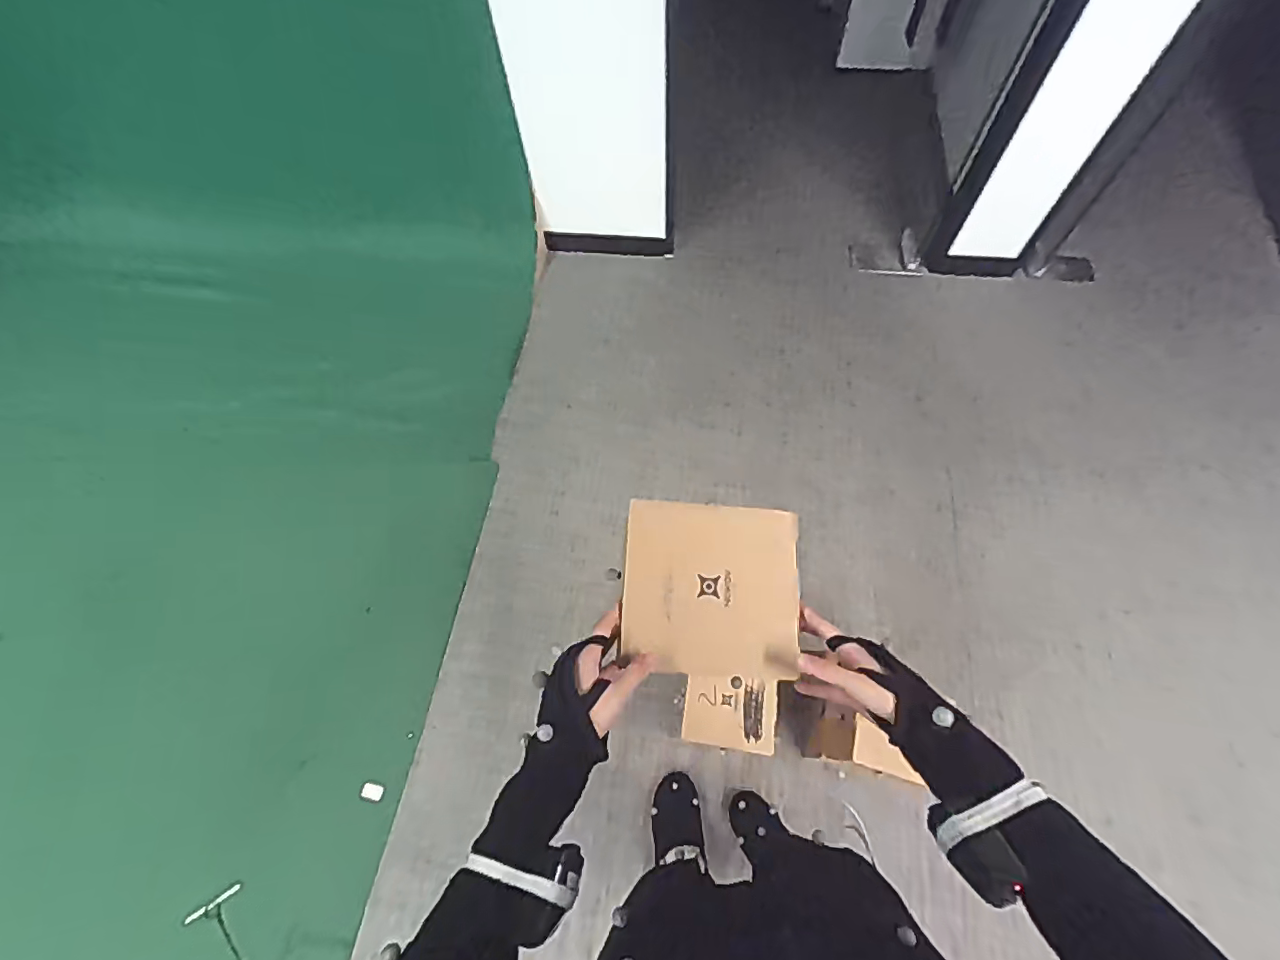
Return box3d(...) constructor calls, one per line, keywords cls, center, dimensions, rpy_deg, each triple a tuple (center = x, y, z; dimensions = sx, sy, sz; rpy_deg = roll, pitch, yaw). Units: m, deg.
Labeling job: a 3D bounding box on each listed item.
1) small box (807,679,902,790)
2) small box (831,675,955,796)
box3d(cls="small box", center=(0.485, 0.571, 1.218), dimensions=(0.168, 0.176, 0.179), rpy_deg=(15, 65, 11))
box3d(cls="small box", center=(0.491, 0.503, 1.067), dimensions=(0.179, 0.176, 0.168), rpy_deg=(14, 65, 11))
